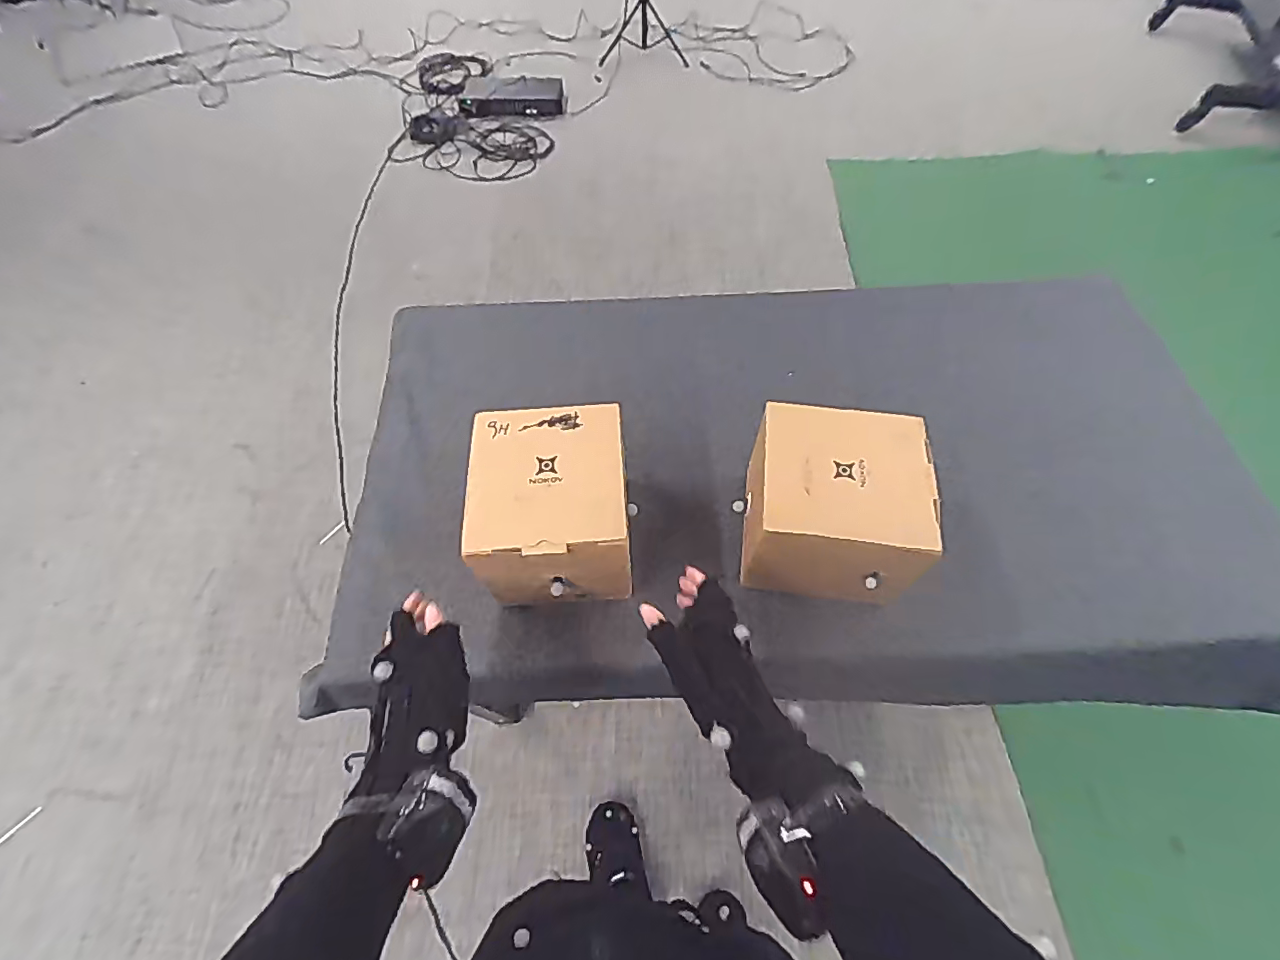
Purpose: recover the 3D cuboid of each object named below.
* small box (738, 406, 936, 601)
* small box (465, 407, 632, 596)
[{"bbox_3d":[0.221,0.035,0.645,0.179,0.176,0.168,8,61,6],"label":"small box"},{"bbox_3d":[-0.096,0.034,0.647,0.168,0.176,0.179,-3,61,-1],"label":"small box"}]
